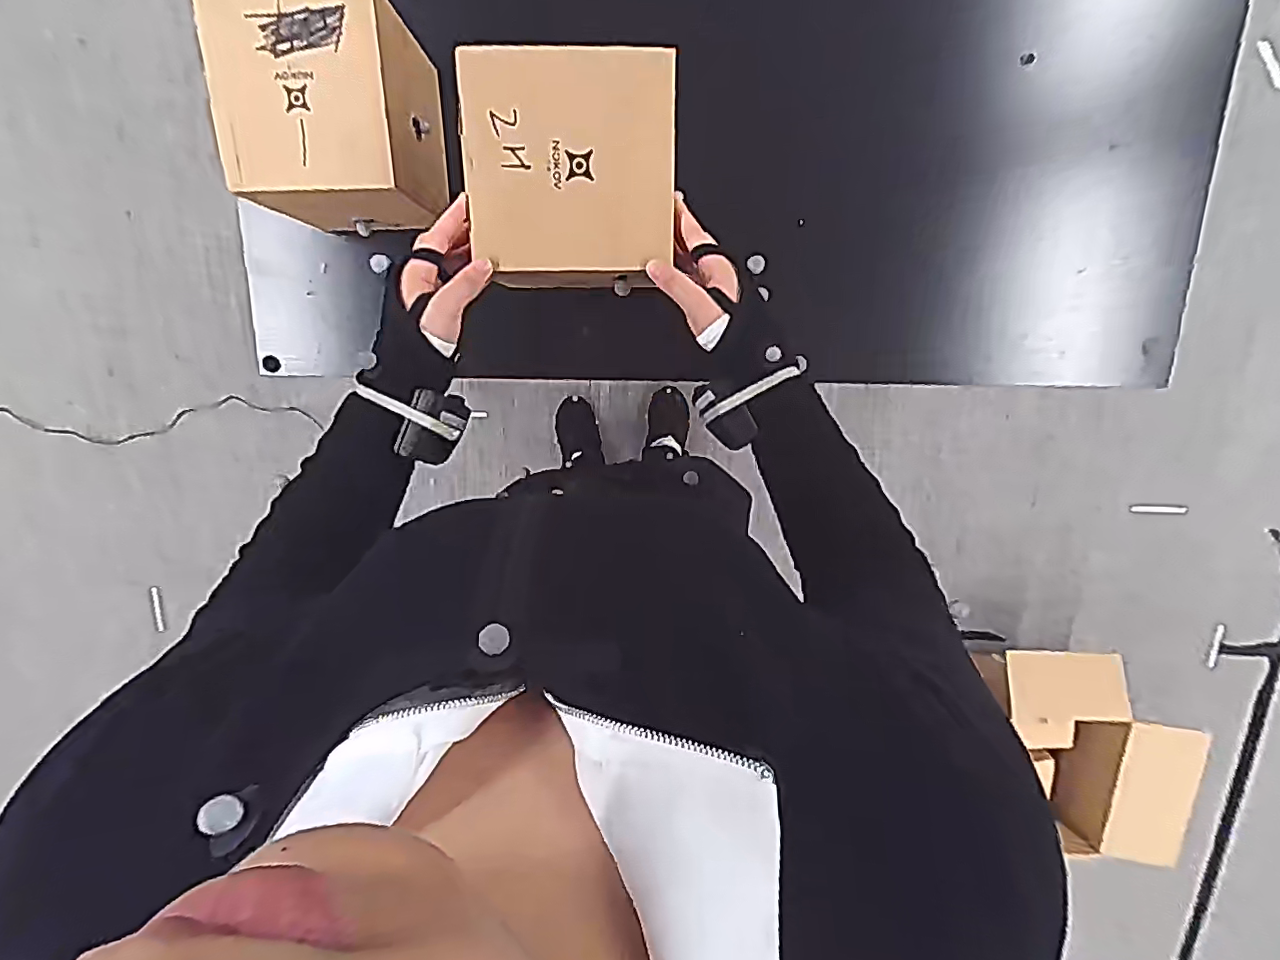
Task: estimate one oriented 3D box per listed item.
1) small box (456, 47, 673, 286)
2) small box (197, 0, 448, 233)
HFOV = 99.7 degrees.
[{"bbox_3d":[-0.063,-0.285,0.529,0.179,0.176,0.168,-1,105,-1],"label":"small box"},{"bbox_3d":[-0.322,-0.381,0.587,0.168,0.176,0.179,-1,104,0],"label":"small box"}]
